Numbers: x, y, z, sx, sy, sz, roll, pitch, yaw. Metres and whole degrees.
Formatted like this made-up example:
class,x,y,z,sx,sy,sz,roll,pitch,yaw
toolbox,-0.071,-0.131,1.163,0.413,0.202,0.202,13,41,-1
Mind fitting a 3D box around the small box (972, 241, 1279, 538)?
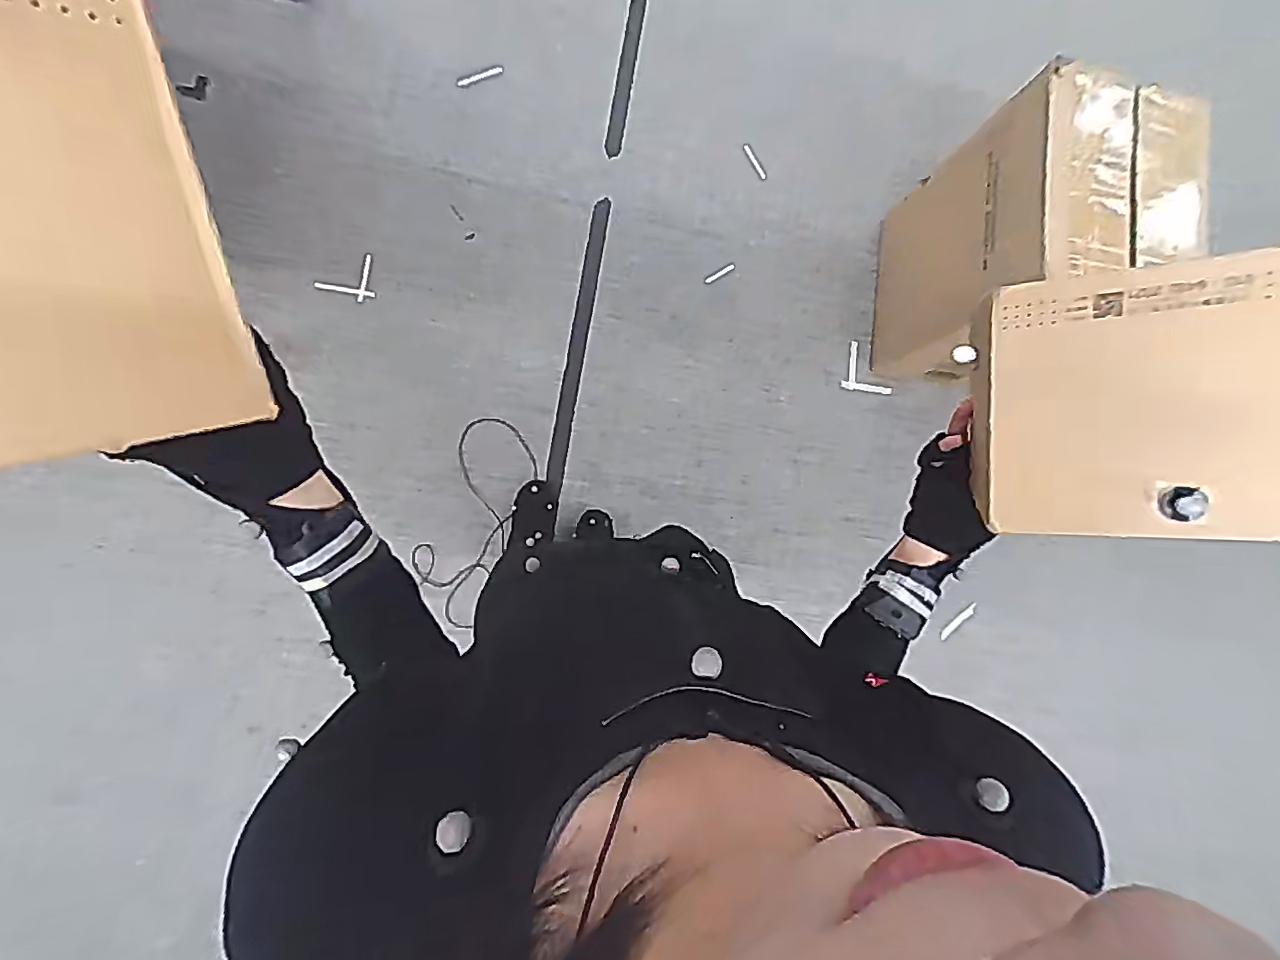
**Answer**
class,x,y,z,sx,sy,sz,roll,pitch,yaw
small box,0.345,-0.064,0.394,0.168,0.179,0.176,0,100,29
